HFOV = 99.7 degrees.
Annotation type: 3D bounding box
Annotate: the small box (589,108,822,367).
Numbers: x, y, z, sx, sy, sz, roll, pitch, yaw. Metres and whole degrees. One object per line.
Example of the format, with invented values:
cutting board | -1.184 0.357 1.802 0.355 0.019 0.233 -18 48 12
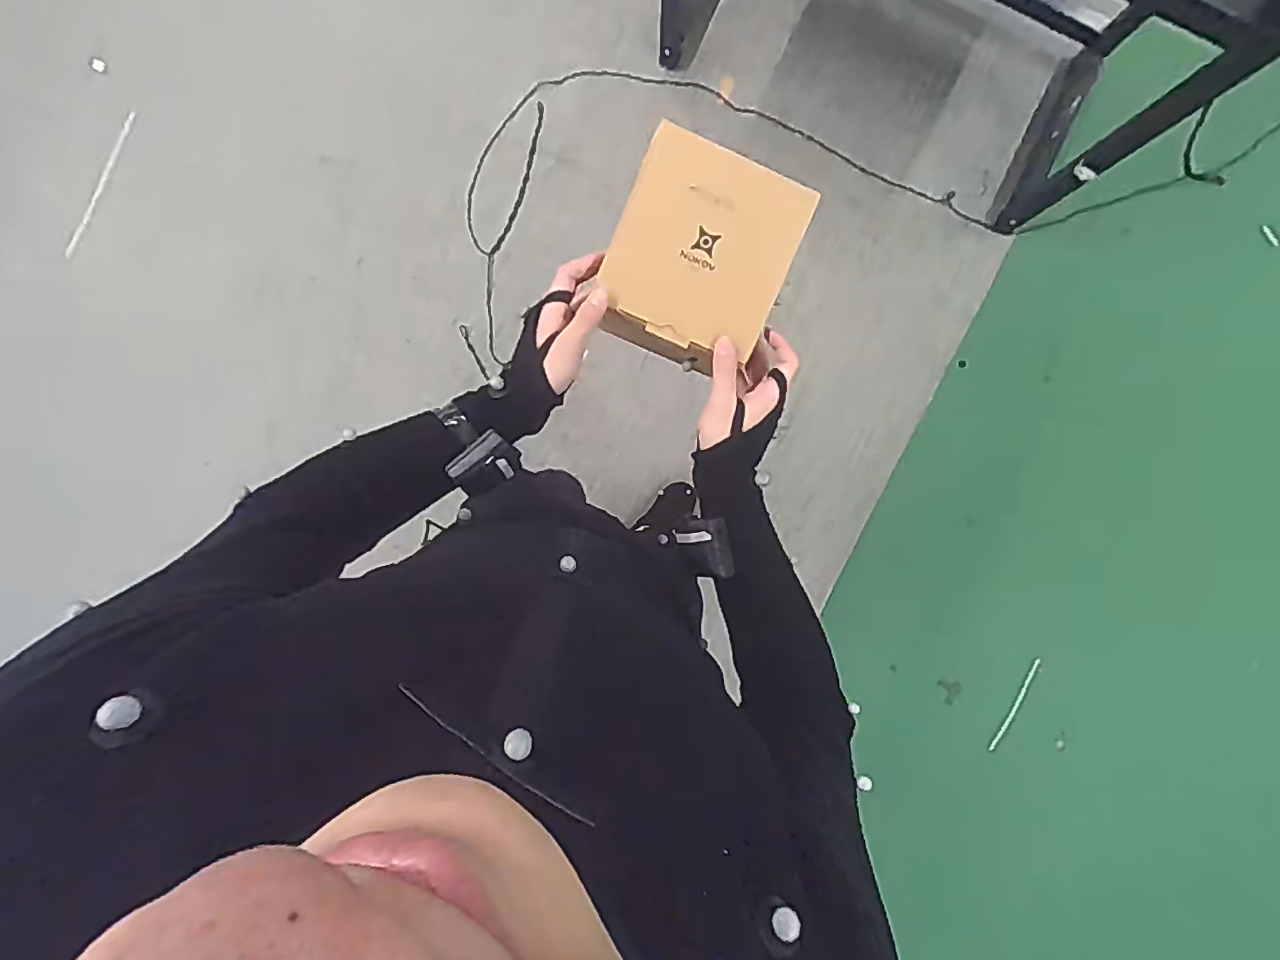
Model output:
small box | 0.058 -0.232 0.575 0.168 0.176 0.179 23 95 -5
